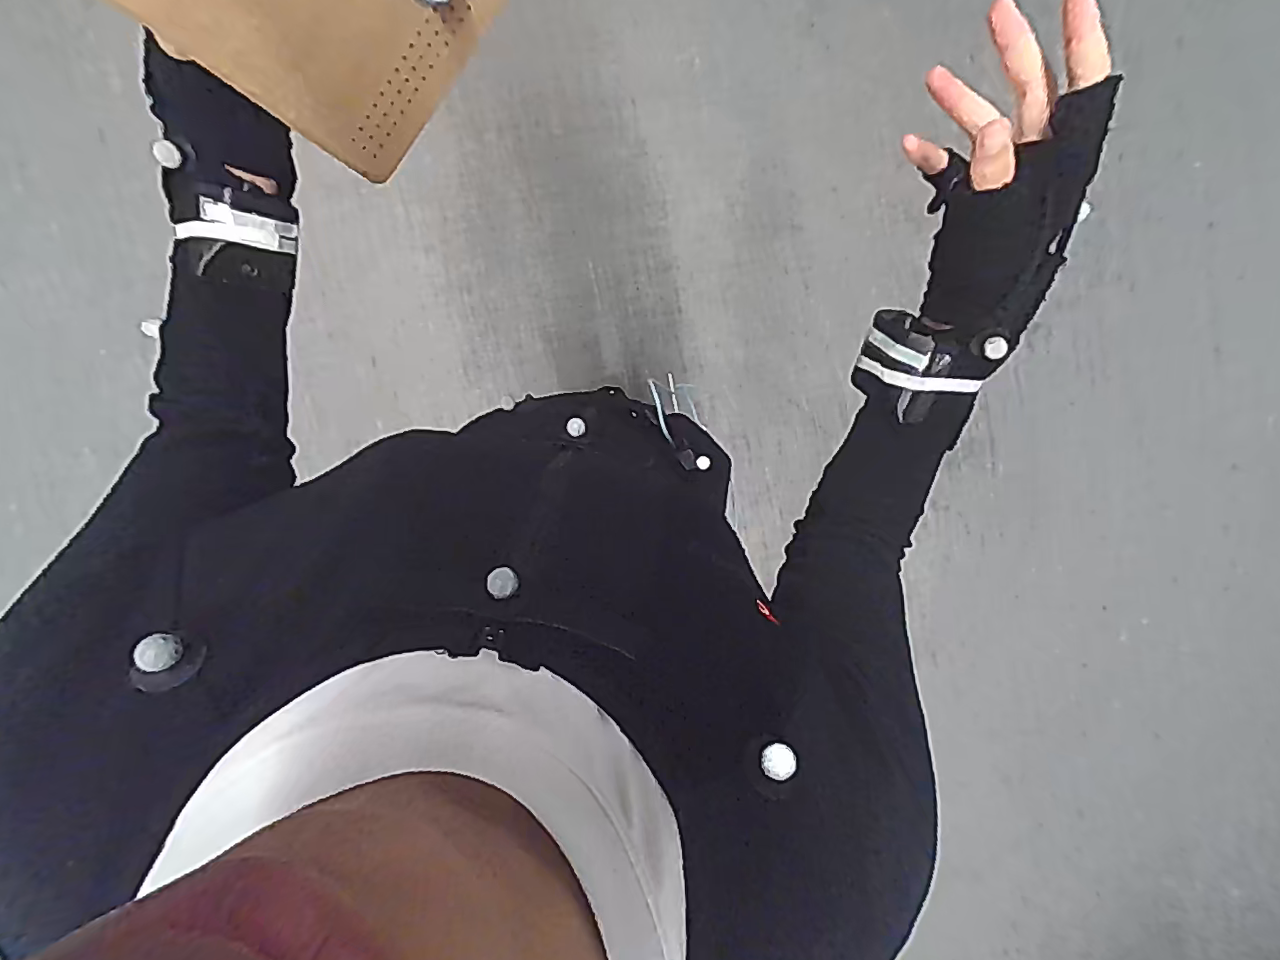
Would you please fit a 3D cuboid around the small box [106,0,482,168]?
[{"bbox_3d":[-0.167,-0.277,0.210,0.168,0.176,0.179,45,102,15],"label":"small box"}]
